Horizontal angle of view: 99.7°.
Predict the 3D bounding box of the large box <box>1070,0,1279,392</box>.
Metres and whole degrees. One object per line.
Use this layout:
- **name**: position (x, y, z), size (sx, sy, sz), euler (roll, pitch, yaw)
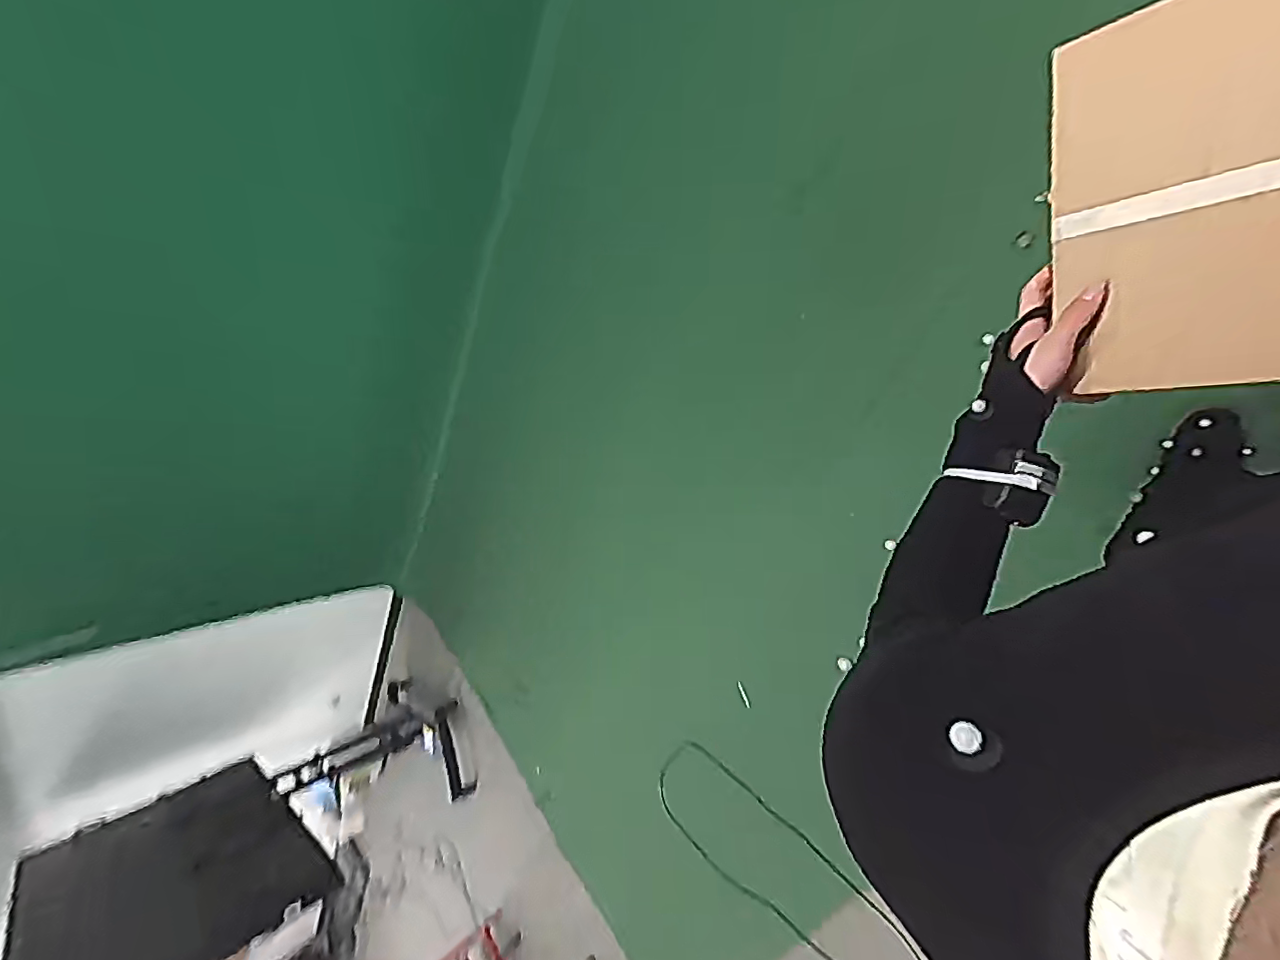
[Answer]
- **large box**: position (0.650, -0.254, 0.465), size (0.408, 0.320, 0.320), euler (3, 101, 48)
